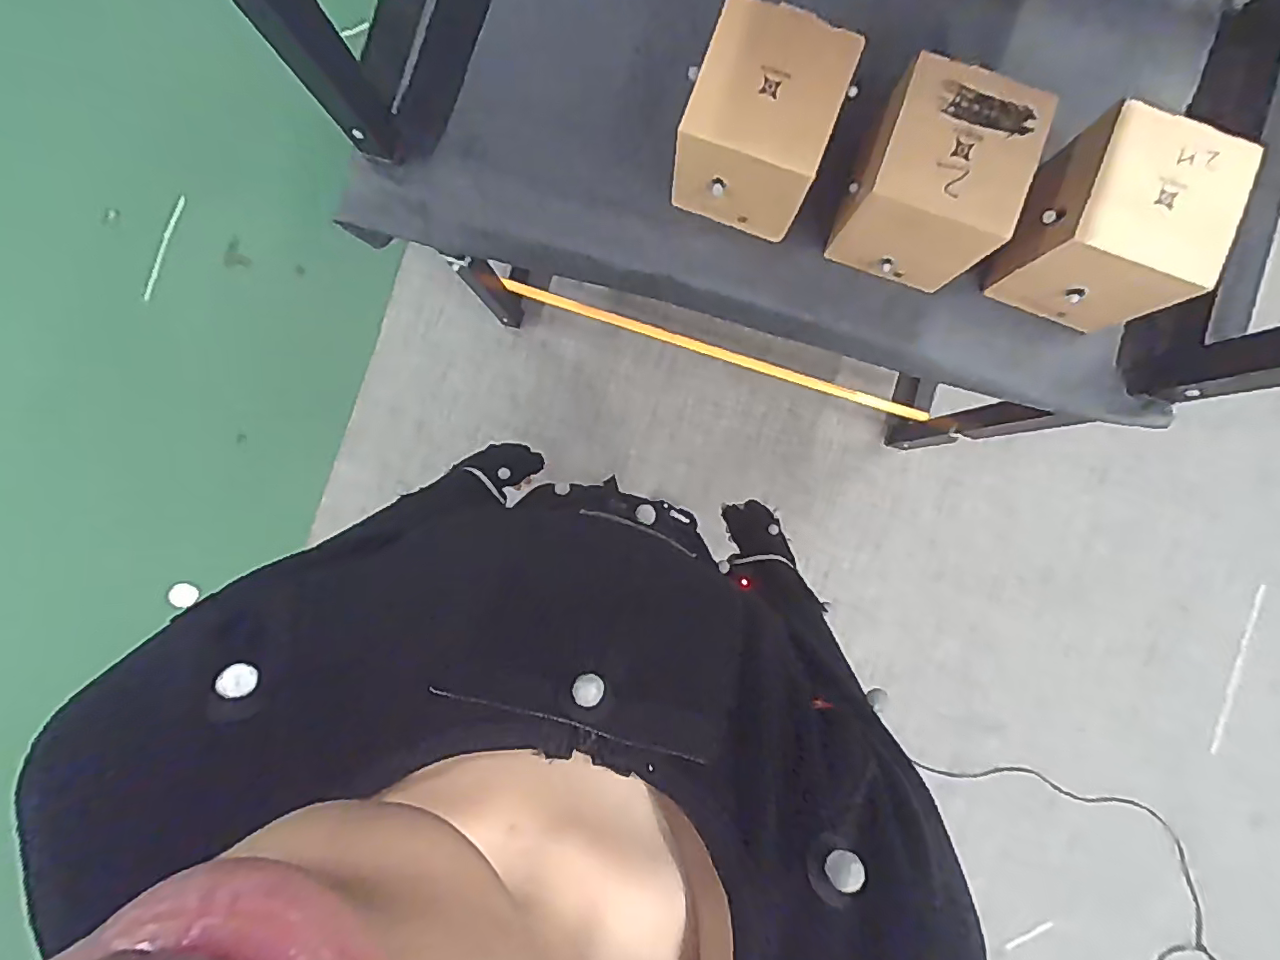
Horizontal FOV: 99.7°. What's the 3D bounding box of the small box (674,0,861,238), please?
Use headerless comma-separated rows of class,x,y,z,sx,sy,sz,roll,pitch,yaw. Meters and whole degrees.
small box,0.148,-0.445,0.692,0.168,0.176,0.179,20,89,1

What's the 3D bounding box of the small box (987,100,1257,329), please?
small box,0.581,-0.314,0.681,0.168,0.176,0.179,21,88,1
